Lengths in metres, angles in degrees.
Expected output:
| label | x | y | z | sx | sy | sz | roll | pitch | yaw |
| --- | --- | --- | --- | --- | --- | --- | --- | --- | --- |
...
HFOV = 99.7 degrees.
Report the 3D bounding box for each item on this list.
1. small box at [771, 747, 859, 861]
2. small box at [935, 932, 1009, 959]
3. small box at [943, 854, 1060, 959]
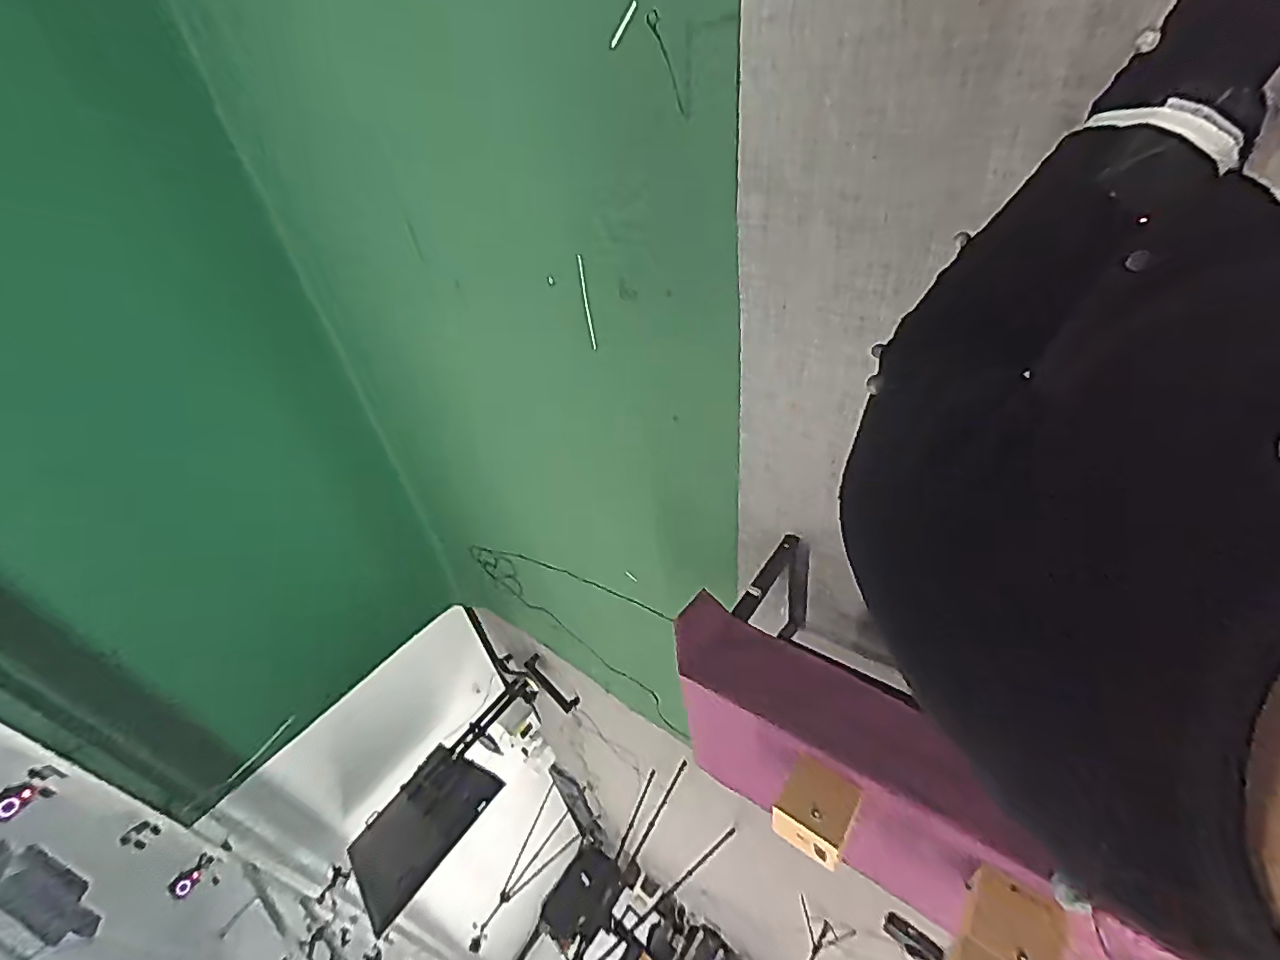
| label | x | y | z | sx | sy | sz | roll | pitch | yaw |
| --- | --- | --- | --- | --- | --- | --- | --- | --- | --- |
| small box | 0.468 | 0.861 | 1.448 | 0.179 | 0.176 | 0.168 | 21 | 138 | 33 |
| small box | 0.712 | 1.086 | 1.121 | 0.179 | 0.176 | 0.168 | 22 | 139 | 31 |
| small box | 0.812 | 0.994 | 1.214 | 0.168 | 0.176 | 0.179 | 21 | 138 | 32 |
